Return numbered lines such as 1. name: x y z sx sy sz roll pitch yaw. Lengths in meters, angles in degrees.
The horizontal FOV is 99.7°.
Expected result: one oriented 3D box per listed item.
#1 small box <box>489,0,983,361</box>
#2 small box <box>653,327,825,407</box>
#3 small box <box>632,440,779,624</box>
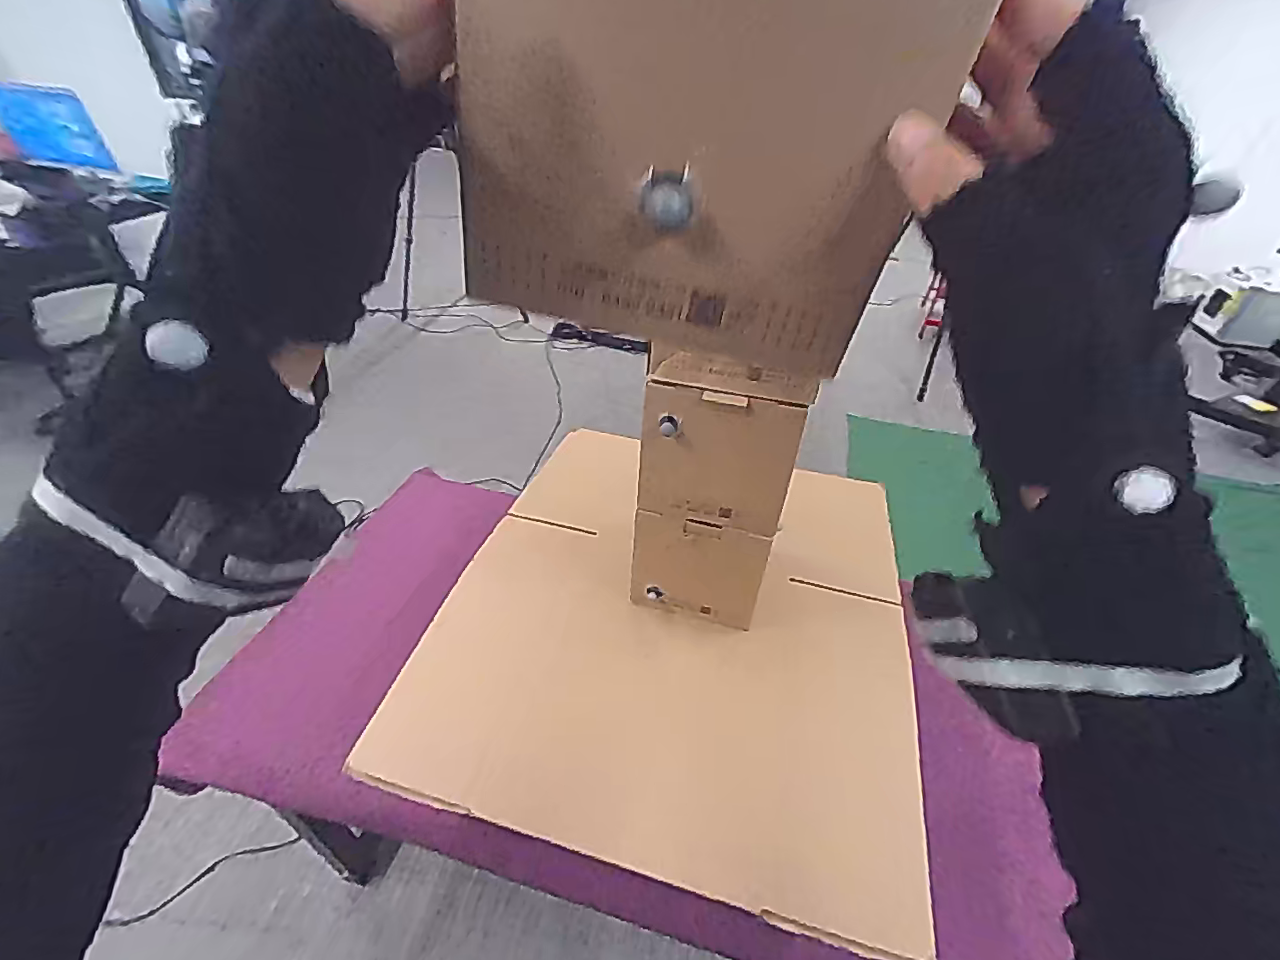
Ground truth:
1. small box: 0.033 -0.182 0.259 0.168 0.176 0.179 13 40 2
2. small box: 0.111 -0.197 0.561 0.168 0.176 0.179 11 37 8
3. small box: 0.089 0.071 0.749 0.168 0.176 0.179 12 37 10
